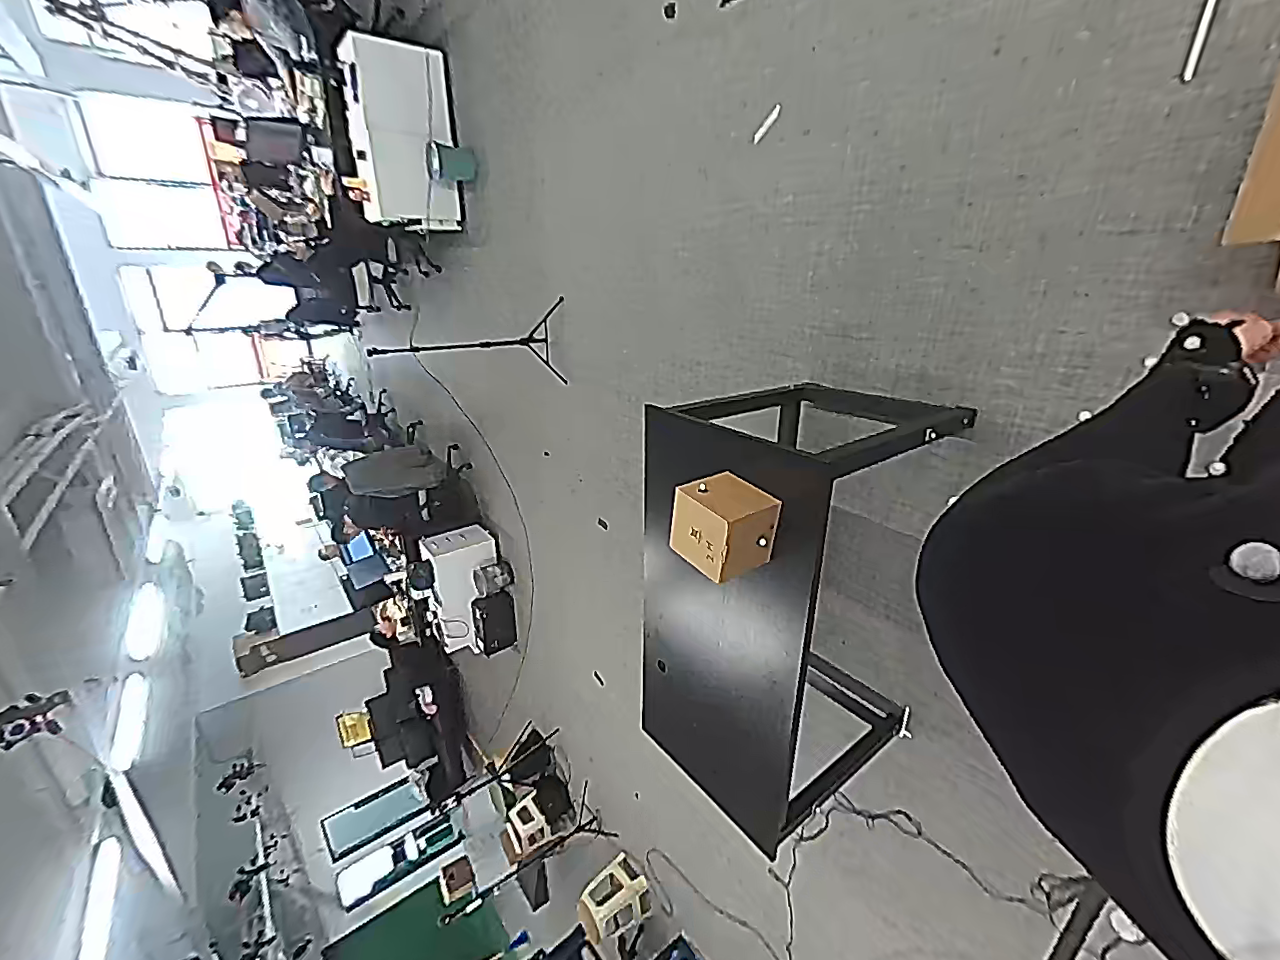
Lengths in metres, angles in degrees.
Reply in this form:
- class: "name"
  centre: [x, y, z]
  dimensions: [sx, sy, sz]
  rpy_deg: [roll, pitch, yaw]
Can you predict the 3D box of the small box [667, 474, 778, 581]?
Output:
- class: "small box"
  centre: [0.185, 0.099, 1.245]
  dimensions: [0.179, 0.176, 0.168]
  rpy_deg: [35, 131, 43]
